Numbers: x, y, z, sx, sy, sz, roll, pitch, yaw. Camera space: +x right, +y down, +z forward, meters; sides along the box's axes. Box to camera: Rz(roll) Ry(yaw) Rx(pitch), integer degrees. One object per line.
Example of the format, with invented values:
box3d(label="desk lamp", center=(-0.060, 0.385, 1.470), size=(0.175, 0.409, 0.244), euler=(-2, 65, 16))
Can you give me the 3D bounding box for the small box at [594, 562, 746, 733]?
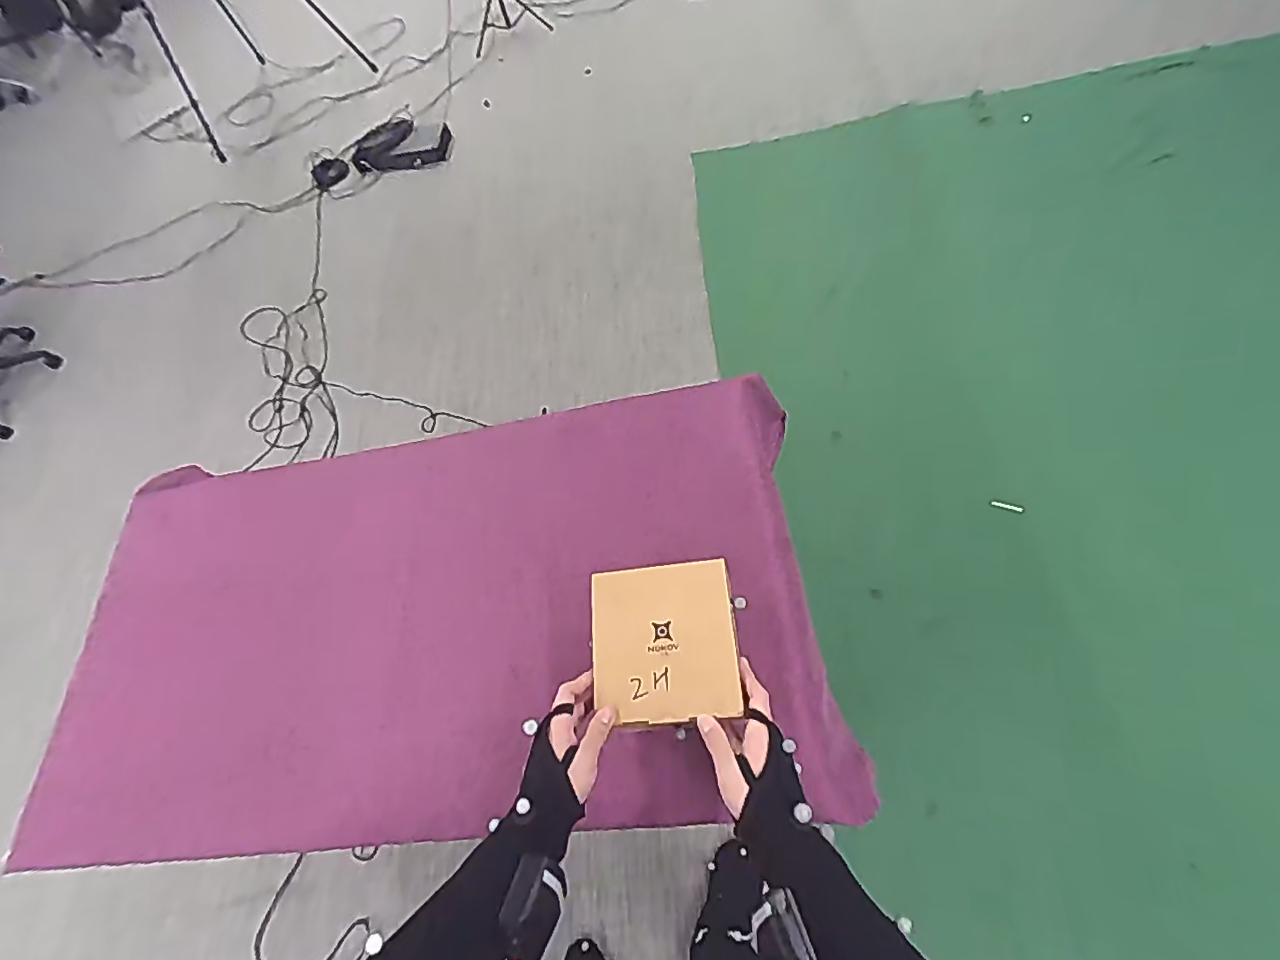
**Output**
box3d(label="small box", center=(0.042, 0.220, 0.688), size=(0.168, 0.176, 0.179), euler=(-8, 63, 9))
